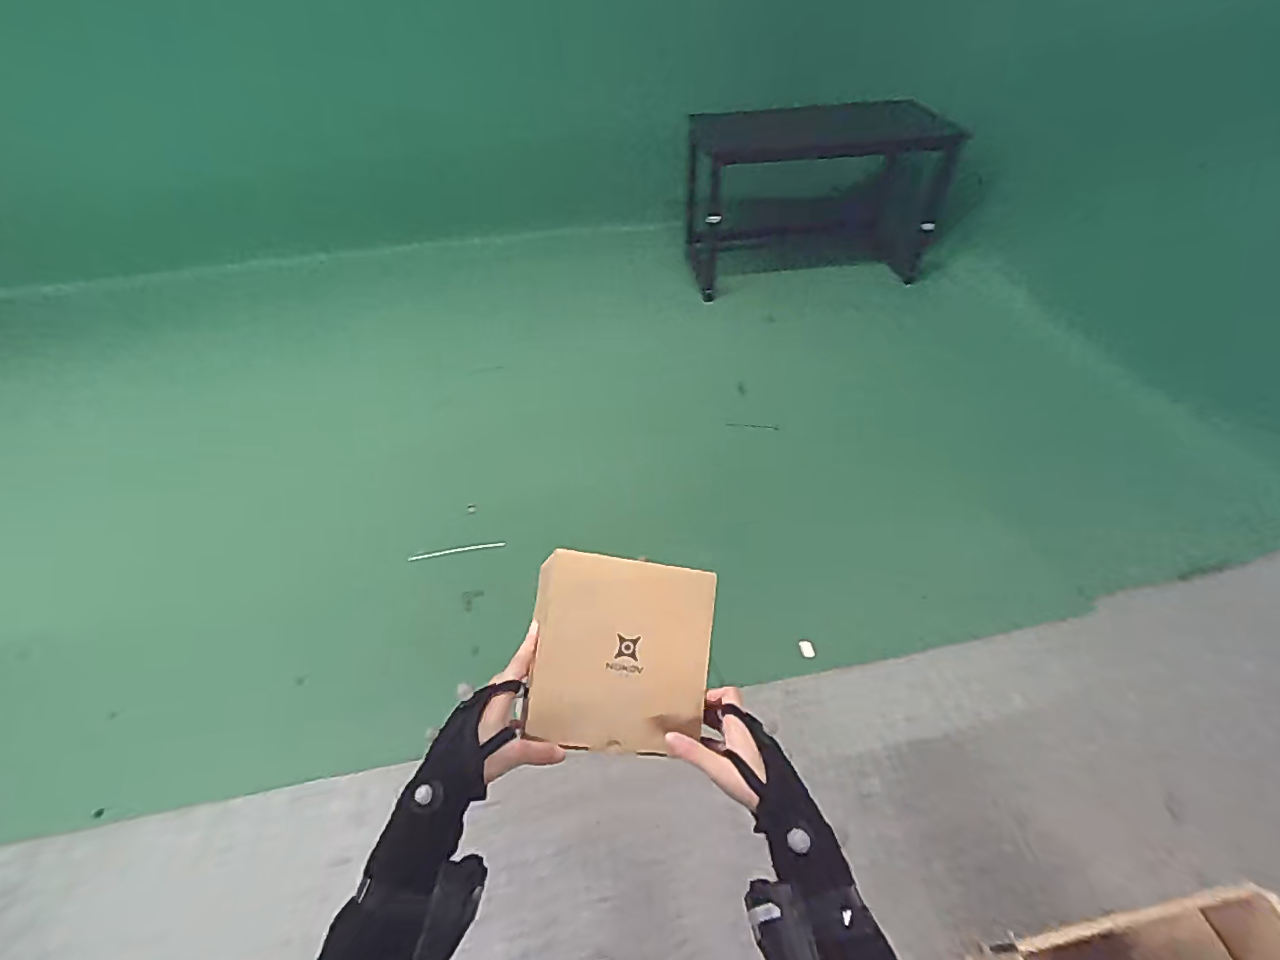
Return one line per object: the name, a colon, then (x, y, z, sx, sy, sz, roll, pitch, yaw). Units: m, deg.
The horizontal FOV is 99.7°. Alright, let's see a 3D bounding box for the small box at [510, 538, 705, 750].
small box: (-0.042, 0.171, 0.580, 0.168, 0.176, 0.179, 11, 74, -12)
